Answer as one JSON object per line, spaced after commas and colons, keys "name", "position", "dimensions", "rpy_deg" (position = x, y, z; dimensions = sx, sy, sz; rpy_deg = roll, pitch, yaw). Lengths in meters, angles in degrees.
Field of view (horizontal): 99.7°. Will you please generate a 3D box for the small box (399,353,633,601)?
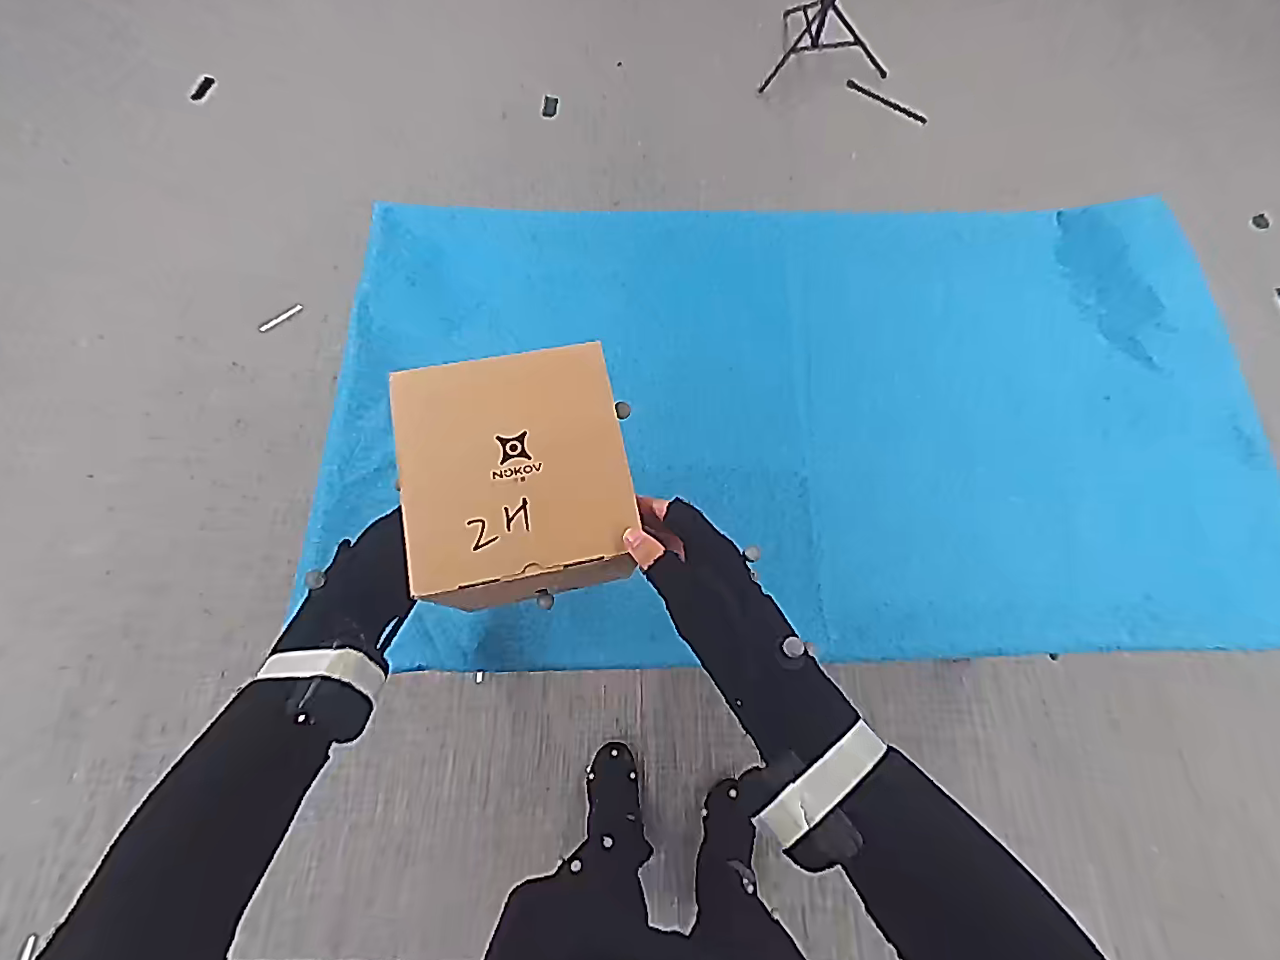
{"name": "small box", "position": [-0.101, 0.009, 0.483], "dimensions": [0.168, 0.176, 0.179], "rpy_deg": [-7, 77, -5]}
